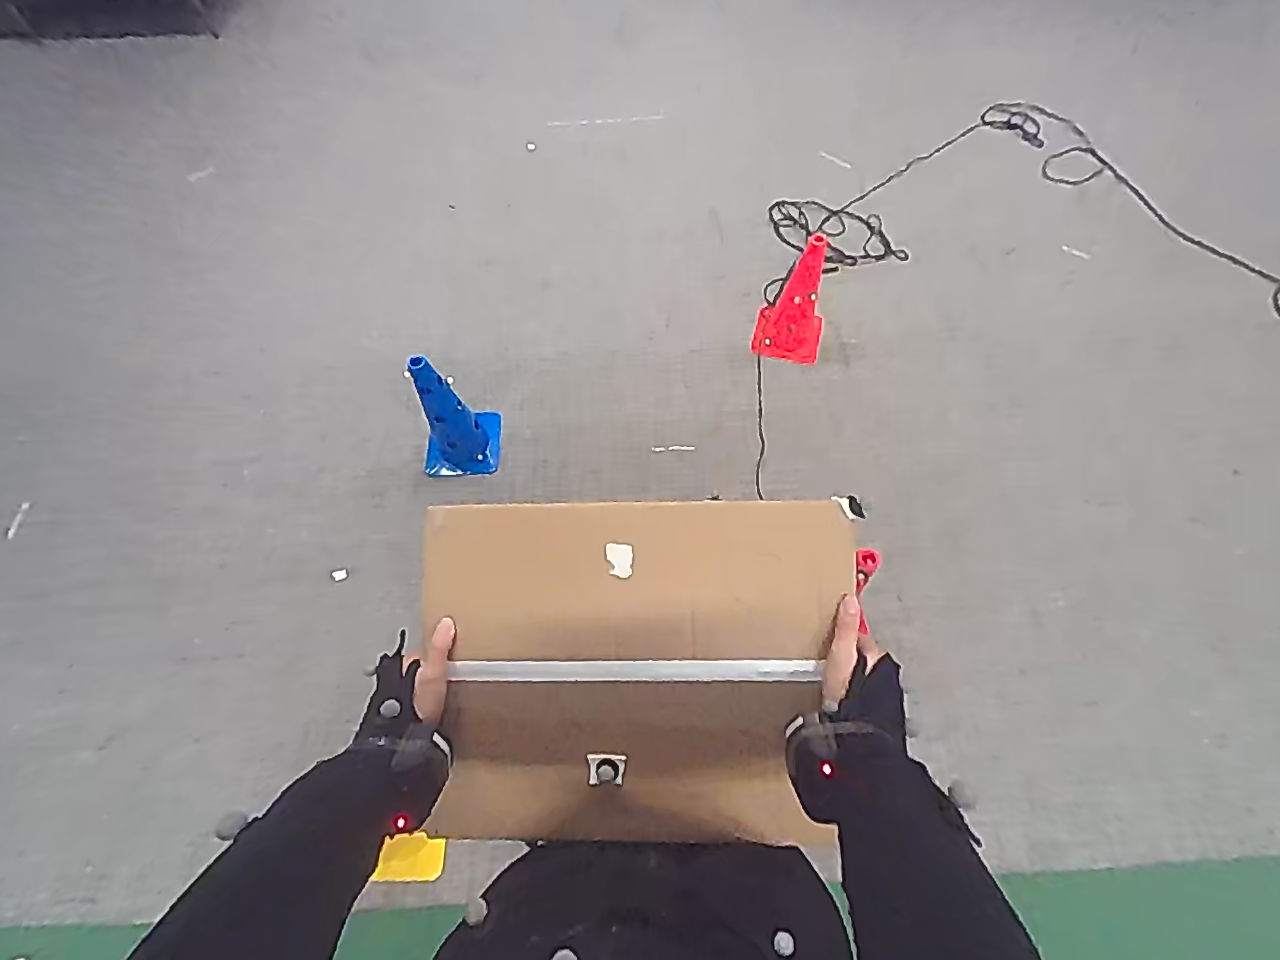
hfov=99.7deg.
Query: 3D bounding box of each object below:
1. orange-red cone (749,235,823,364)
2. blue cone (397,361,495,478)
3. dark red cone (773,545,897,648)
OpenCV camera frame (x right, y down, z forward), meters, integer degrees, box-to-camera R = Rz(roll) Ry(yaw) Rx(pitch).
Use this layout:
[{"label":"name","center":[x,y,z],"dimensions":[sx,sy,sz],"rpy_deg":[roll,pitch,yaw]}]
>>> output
[{"label":"orange-red cone","center":[0.445,-0.523,1.509],"dimensions":[0.199,0.360,0.198],"rpy_deg":[16,65,8]},{"label":"blue cone","center":[-0.510,-0.168,1.370],"dimensions":[0.192,0.380,0.193],"rpy_deg":[-3,62,1]},{"label":"dark red cone","center":[0.422,0.209,1.107],"dimensions":[0.202,0.394,0.201],"rpy_deg":[-9,66,-3]}]
